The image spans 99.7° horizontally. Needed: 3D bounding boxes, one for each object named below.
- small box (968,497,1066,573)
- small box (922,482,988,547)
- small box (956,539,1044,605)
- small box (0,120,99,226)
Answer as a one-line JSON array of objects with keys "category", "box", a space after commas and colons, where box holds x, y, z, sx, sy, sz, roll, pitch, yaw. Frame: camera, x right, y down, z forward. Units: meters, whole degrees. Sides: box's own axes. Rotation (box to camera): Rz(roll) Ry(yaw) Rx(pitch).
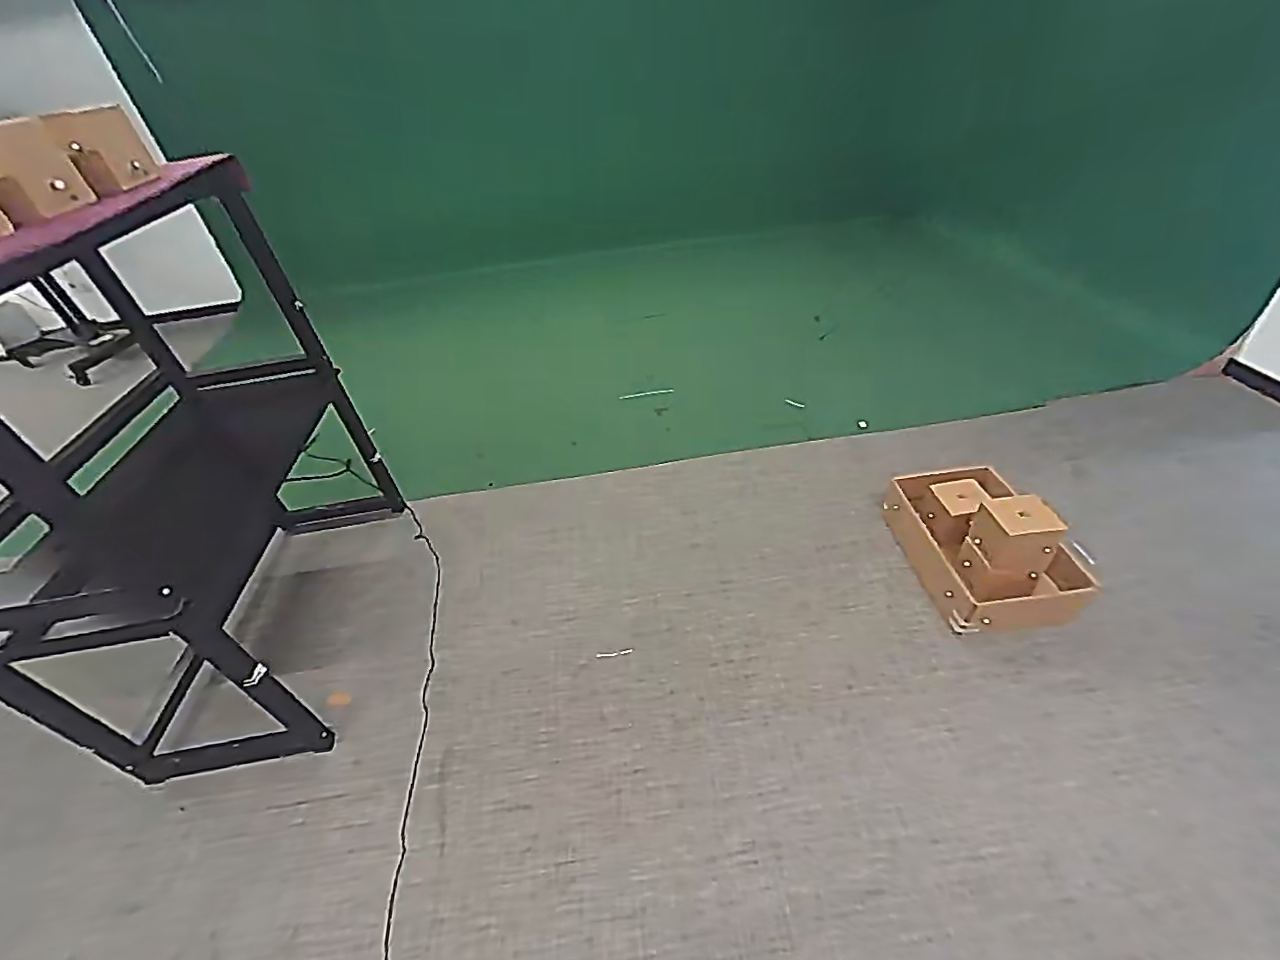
[{"category": "small box", "box": [1.186, 0.177, 1.718, 0.179, 0.176, 0.168, -7, 38, 2]}, {"category": "small box", "box": [1.179, 0.133, 2.019, 0.179, 0.176, 0.168, -8, 41, 0]}, {"category": "small box", "box": [1.199, 0.303, 1.821, 0.179, 0.176, 0.168, -8, 40, 0]}, {"category": "small box", "box": [-1.341, -0.645, 1.148, 0.179, 0.176, 0.168, -9, 40, -1]}]
